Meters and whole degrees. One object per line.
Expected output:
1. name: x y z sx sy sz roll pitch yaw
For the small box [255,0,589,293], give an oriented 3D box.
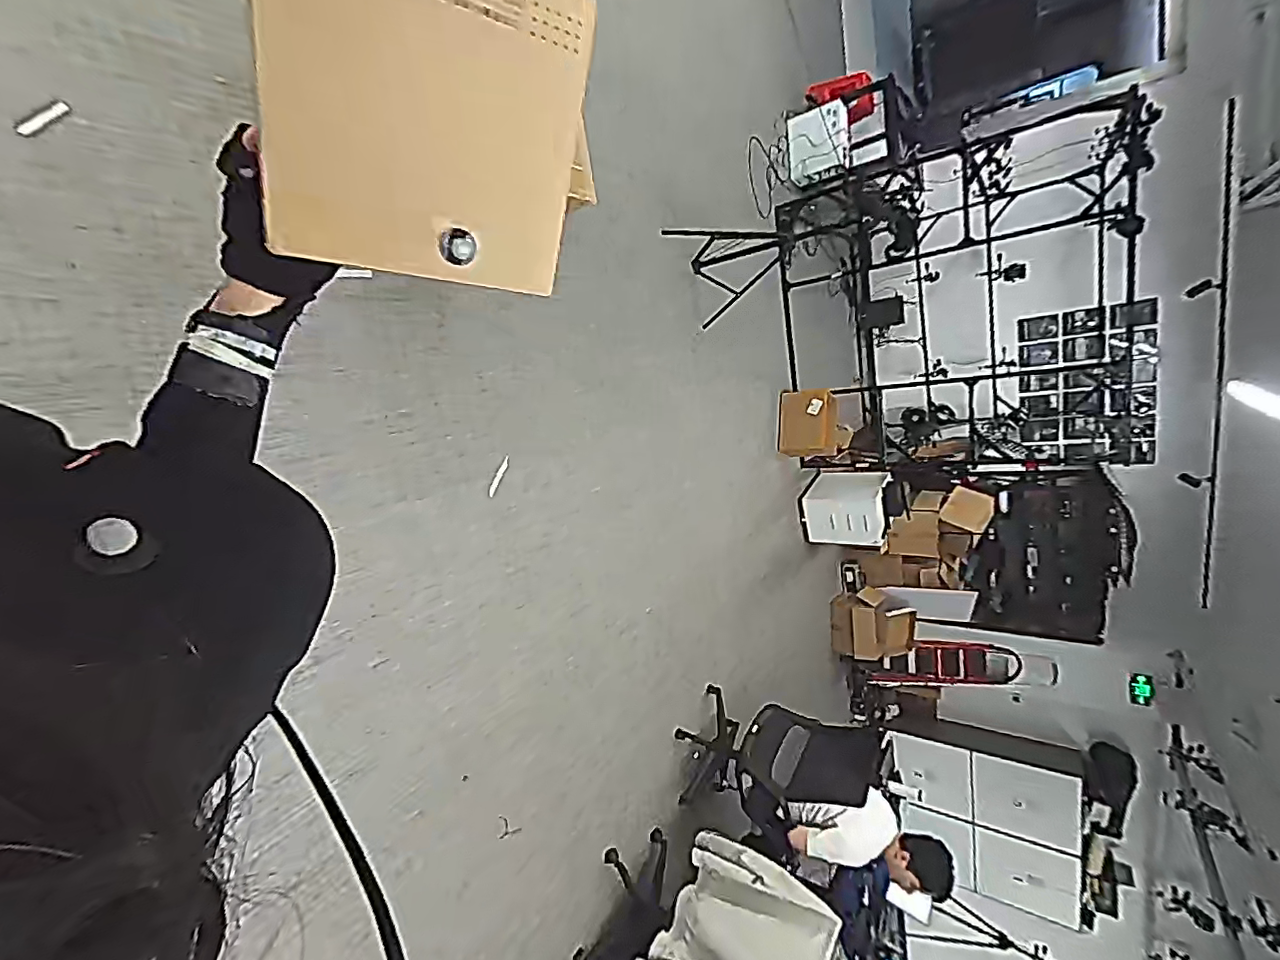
1. small box: -0.147 -0.245 0.358 0.168 0.179 0.176 -1 122 -30
